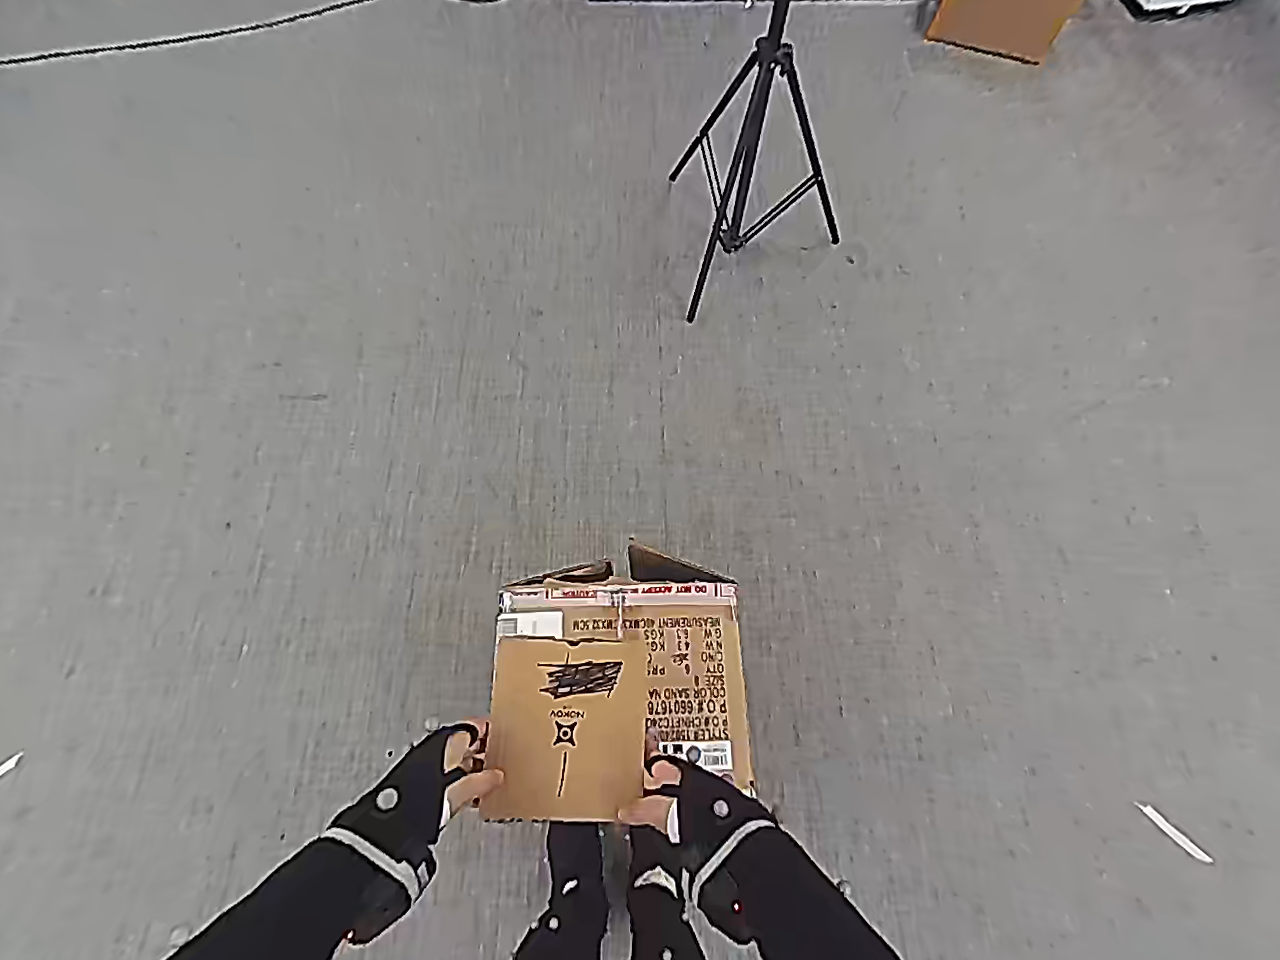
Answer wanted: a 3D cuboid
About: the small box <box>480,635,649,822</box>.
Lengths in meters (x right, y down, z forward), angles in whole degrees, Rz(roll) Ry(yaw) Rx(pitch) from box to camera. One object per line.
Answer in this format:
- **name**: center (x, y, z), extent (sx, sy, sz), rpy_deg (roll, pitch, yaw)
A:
- **small box**: center (-0.077, 0.285, 0.641), extent (0.168, 0.176, 0.179), rpy_deg (2, 69, 0)
